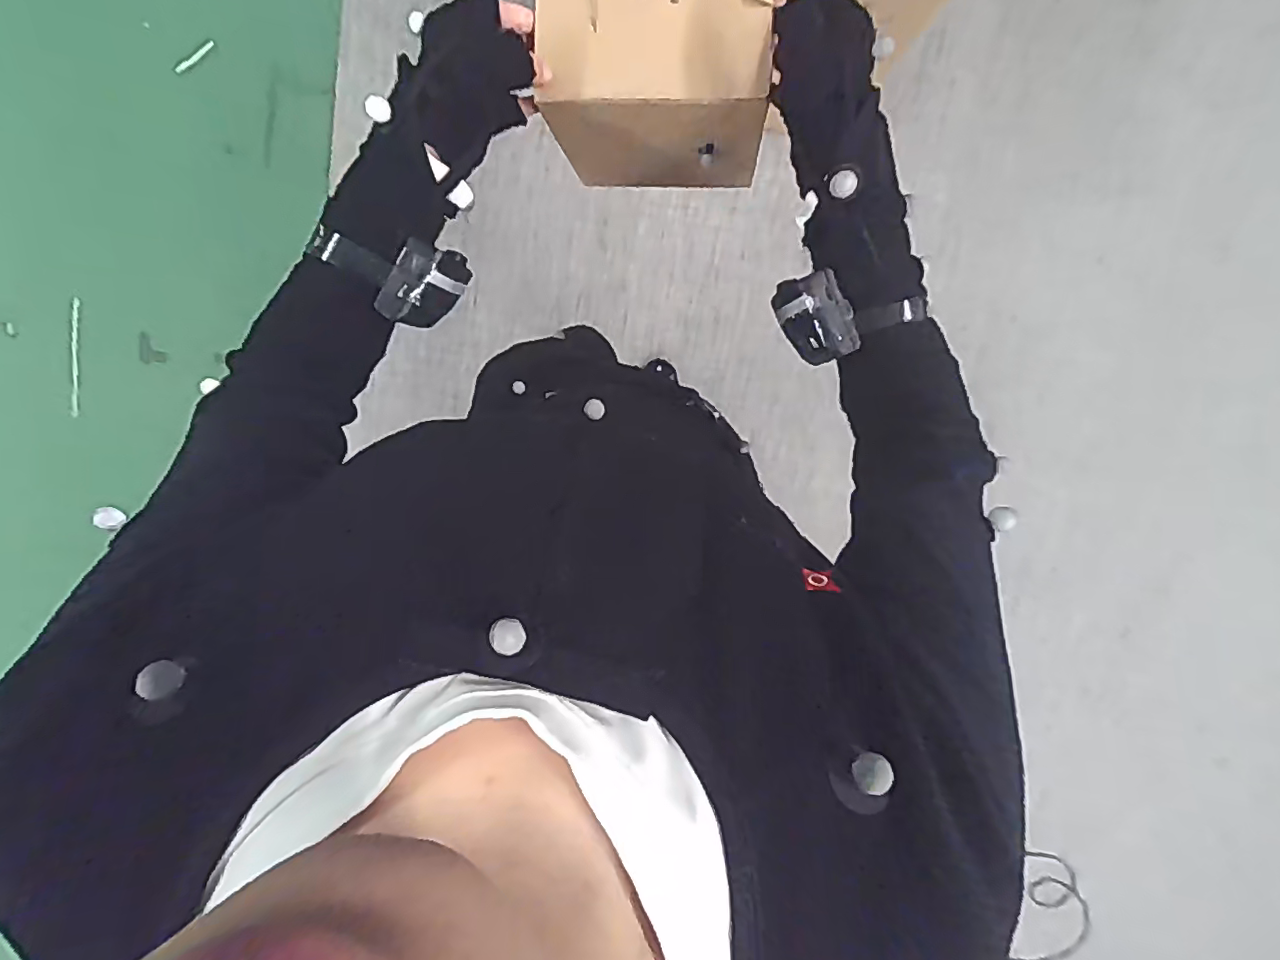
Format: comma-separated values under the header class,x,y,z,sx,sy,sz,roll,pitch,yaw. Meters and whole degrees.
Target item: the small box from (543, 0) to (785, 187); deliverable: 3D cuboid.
class,x,y,z,sx,sy,sz,roll,pitch,yaw
small box,0.026,-0.371,0.464,0.179,0.176,0.168,3,98,7
